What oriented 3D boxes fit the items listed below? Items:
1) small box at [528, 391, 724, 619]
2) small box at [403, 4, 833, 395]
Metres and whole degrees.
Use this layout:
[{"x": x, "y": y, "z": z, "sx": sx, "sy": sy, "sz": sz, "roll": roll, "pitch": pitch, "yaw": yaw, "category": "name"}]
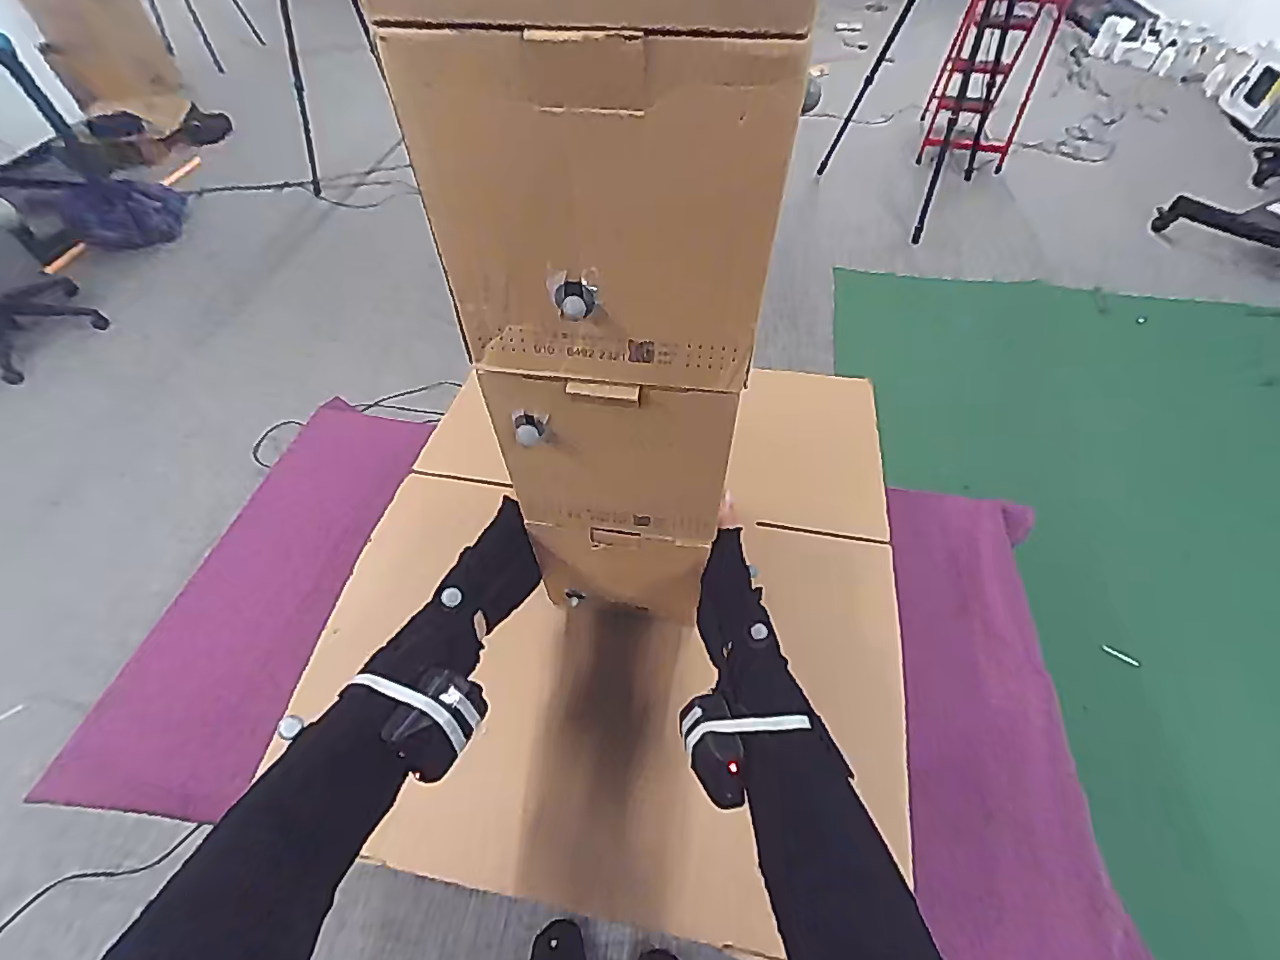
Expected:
[{"x": -0.004, "y": 0.031, "z": 0.568, "sx": 0.168, "sy": 0.176, "sz": 0.179, "roll": 5, "pitch": 54, "yaw": 4, "category": "small box"}, {"x": -0.002, "y": -0.175, "z": 0.313, "sx": 0.168, "sy": 0.176, "sz": 0.179, "roll": 6, "pitch": 52, "yaw": 4, "category": "small box"}]
